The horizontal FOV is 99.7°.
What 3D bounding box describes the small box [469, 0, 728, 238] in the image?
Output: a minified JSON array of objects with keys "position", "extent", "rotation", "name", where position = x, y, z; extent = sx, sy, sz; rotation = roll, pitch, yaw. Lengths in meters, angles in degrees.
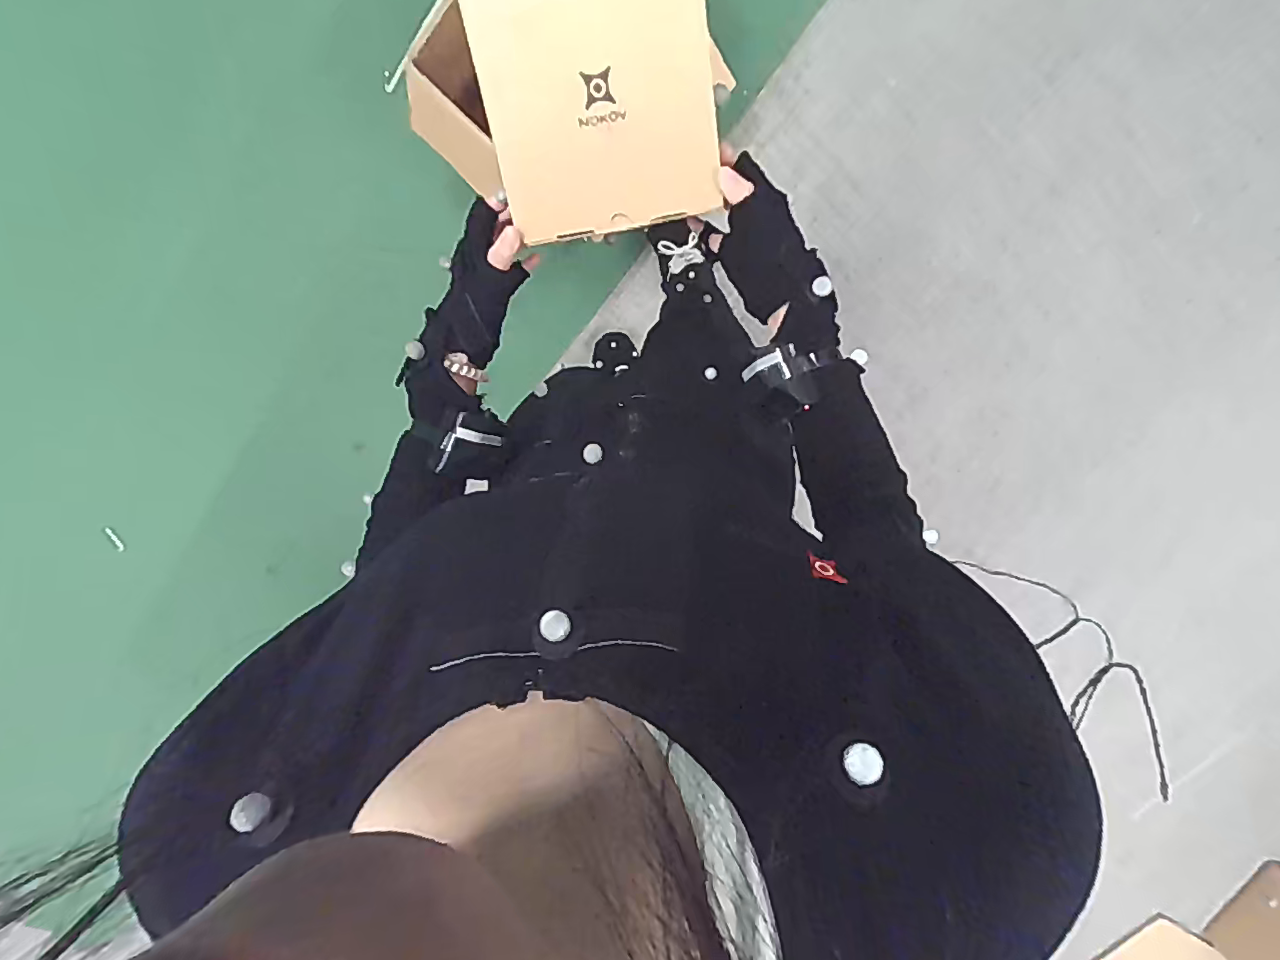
[{"position":[-0.030,-0.313,0.457],"extent":[0.168,0.176,0.179],"rotation":[-10,117,2],"name":"small box"}]
